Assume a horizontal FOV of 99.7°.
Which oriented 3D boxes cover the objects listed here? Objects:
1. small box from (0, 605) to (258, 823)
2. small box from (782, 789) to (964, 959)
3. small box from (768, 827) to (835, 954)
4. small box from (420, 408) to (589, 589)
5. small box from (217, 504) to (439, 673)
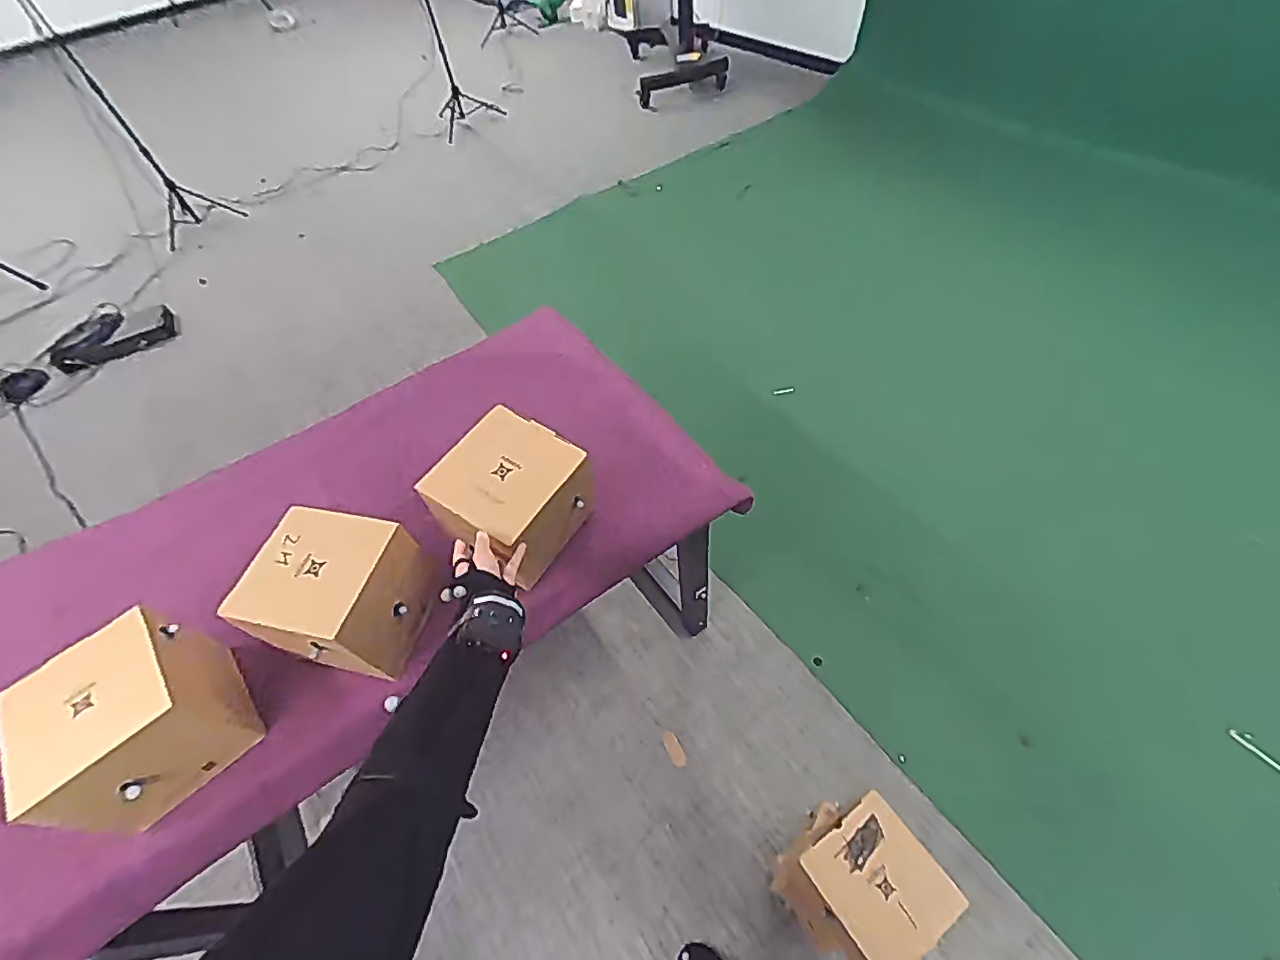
[{"bbox_3d":[-0.631,0.298,0.681,0.168,0.176,0.179,-39,58,-21],"label":"small box"},{"bbox_3d":[0.346,0.623,0.842,0.168,0.176,0.179,-30,58,-16],"label":"small box"},{"bbox_3d":[0.377,0.819,1.104,0.179,0.176,0.168,-24,56,-11],"label":"small box"},{"bbox_3d":[-0.191,0.031,0.819,0.168,0.176,0.179,28,60,17],"label":"small box"},{"bbox_3d":[-0.415,0.157,0.759,0.179,0.176,0.168,8,55,12],"label":"small box"}]
